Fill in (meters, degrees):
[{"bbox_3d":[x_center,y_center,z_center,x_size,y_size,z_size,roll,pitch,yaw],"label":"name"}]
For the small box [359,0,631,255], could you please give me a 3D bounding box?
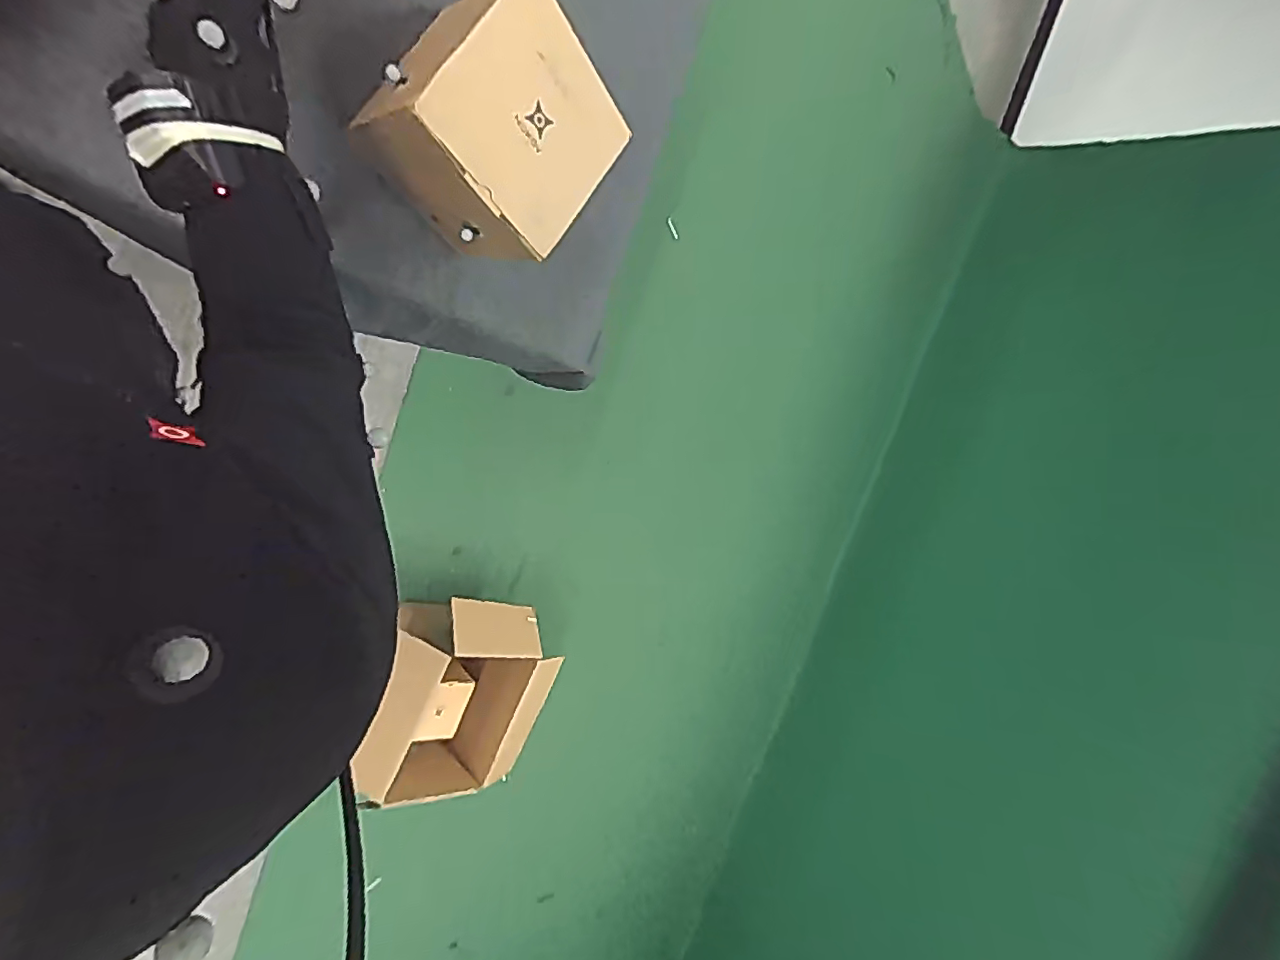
[{"bbox_3d":[-0.148,-0.351,0.540,0.179,0.176,0.168,-60,139,-10],"label":"small box"}]
